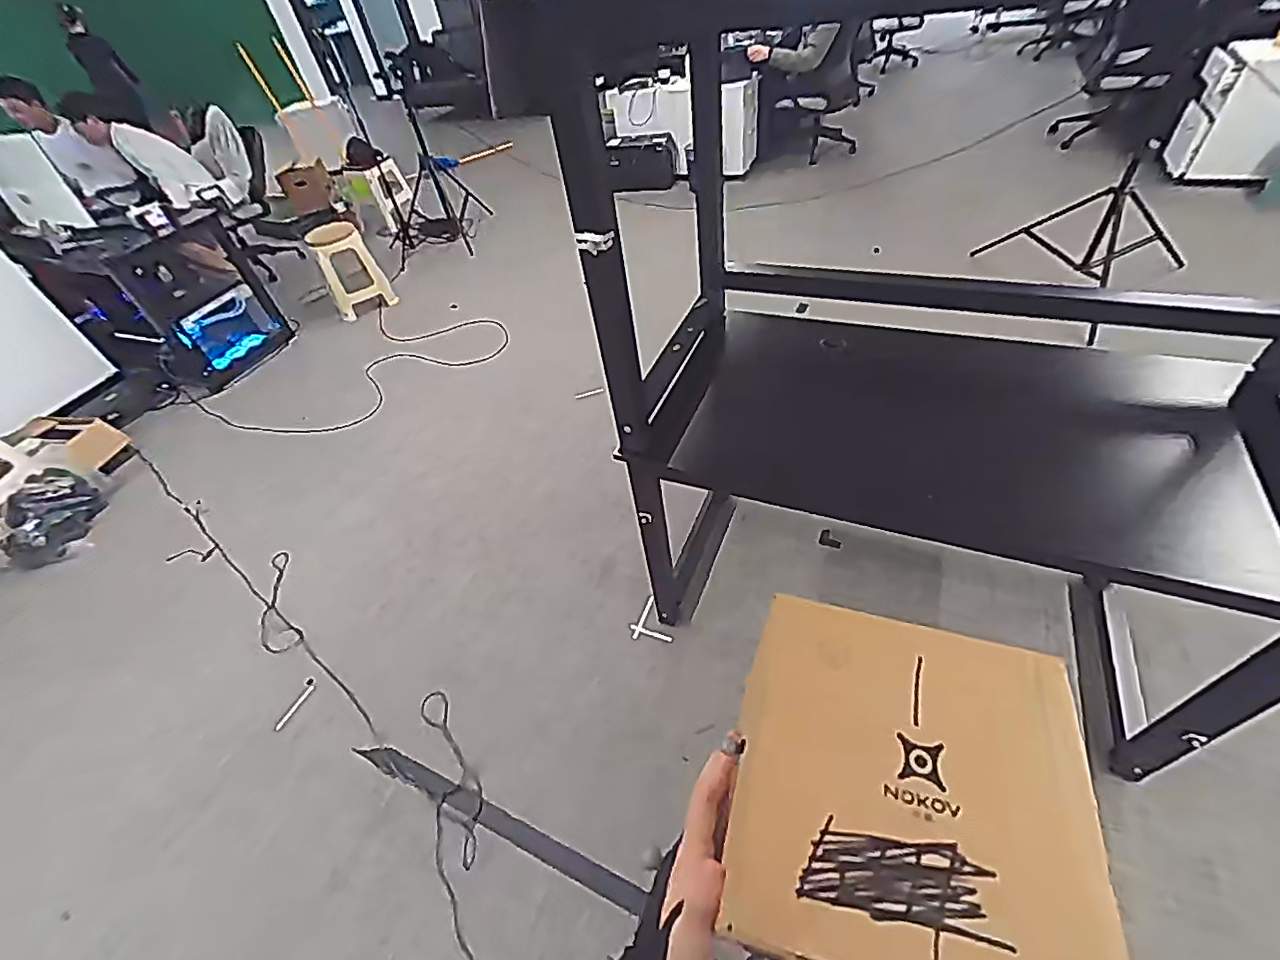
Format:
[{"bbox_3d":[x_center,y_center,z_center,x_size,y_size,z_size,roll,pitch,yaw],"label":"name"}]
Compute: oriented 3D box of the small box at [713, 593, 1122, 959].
[{"bbox_3d":[0.143,0.202,0.336,0.168,0.176,0.179,12,51,12],"label":"small box"}]
